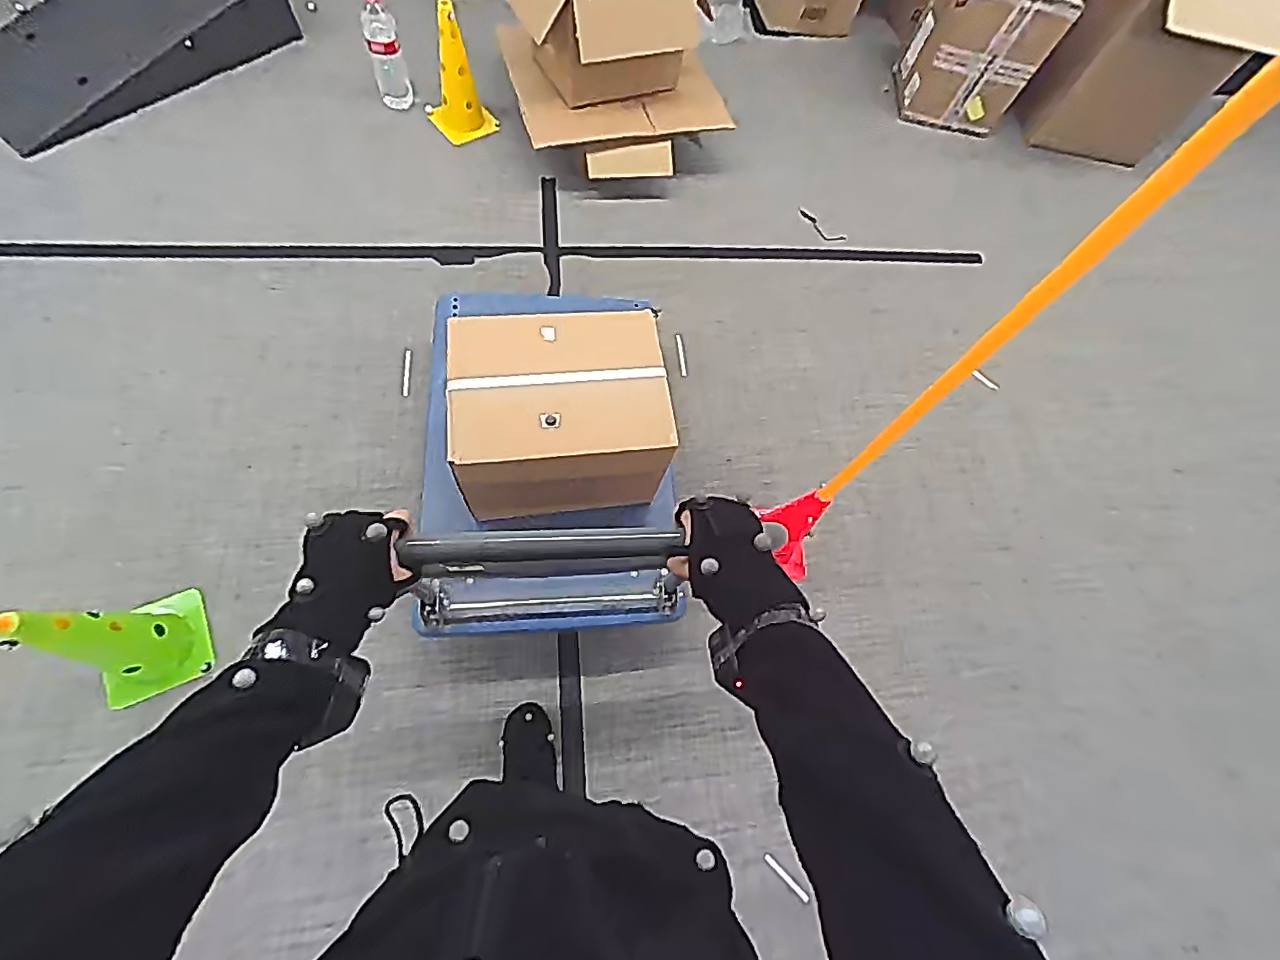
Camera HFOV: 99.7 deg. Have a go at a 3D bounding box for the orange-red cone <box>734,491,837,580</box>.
[{"bbox_3d":[0.374,0.104,1.294,0.199,0.360,0.198,4,67,-8],"label":"orange-red cone"}]
